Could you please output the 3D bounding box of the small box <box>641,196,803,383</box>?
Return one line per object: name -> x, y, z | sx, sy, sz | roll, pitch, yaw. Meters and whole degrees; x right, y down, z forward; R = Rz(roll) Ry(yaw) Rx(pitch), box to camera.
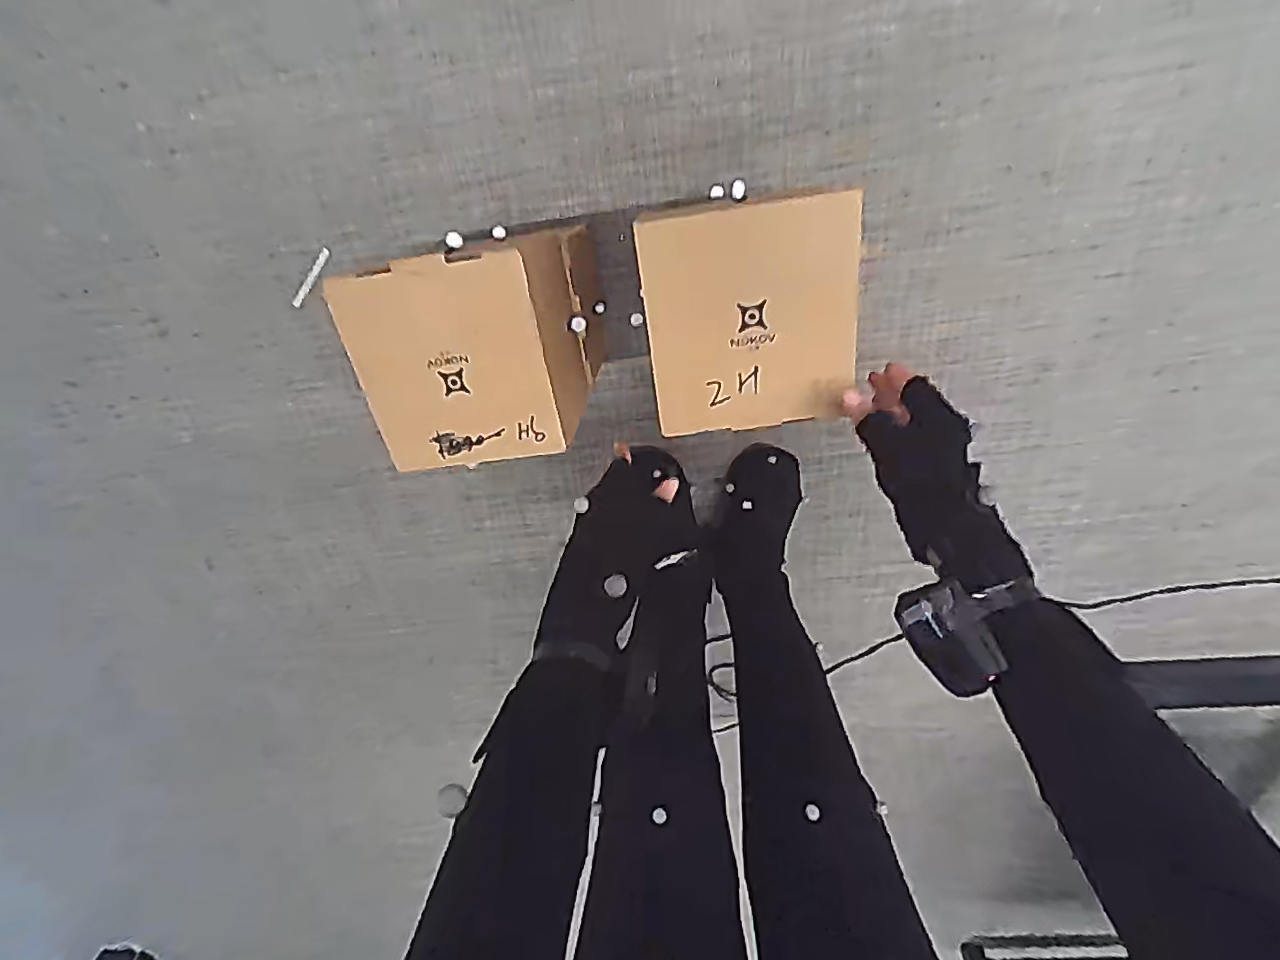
small box -> 0.098, -0.234, 0.655 | 0.168, 0.176, 0.179 | -7, 117, 6
